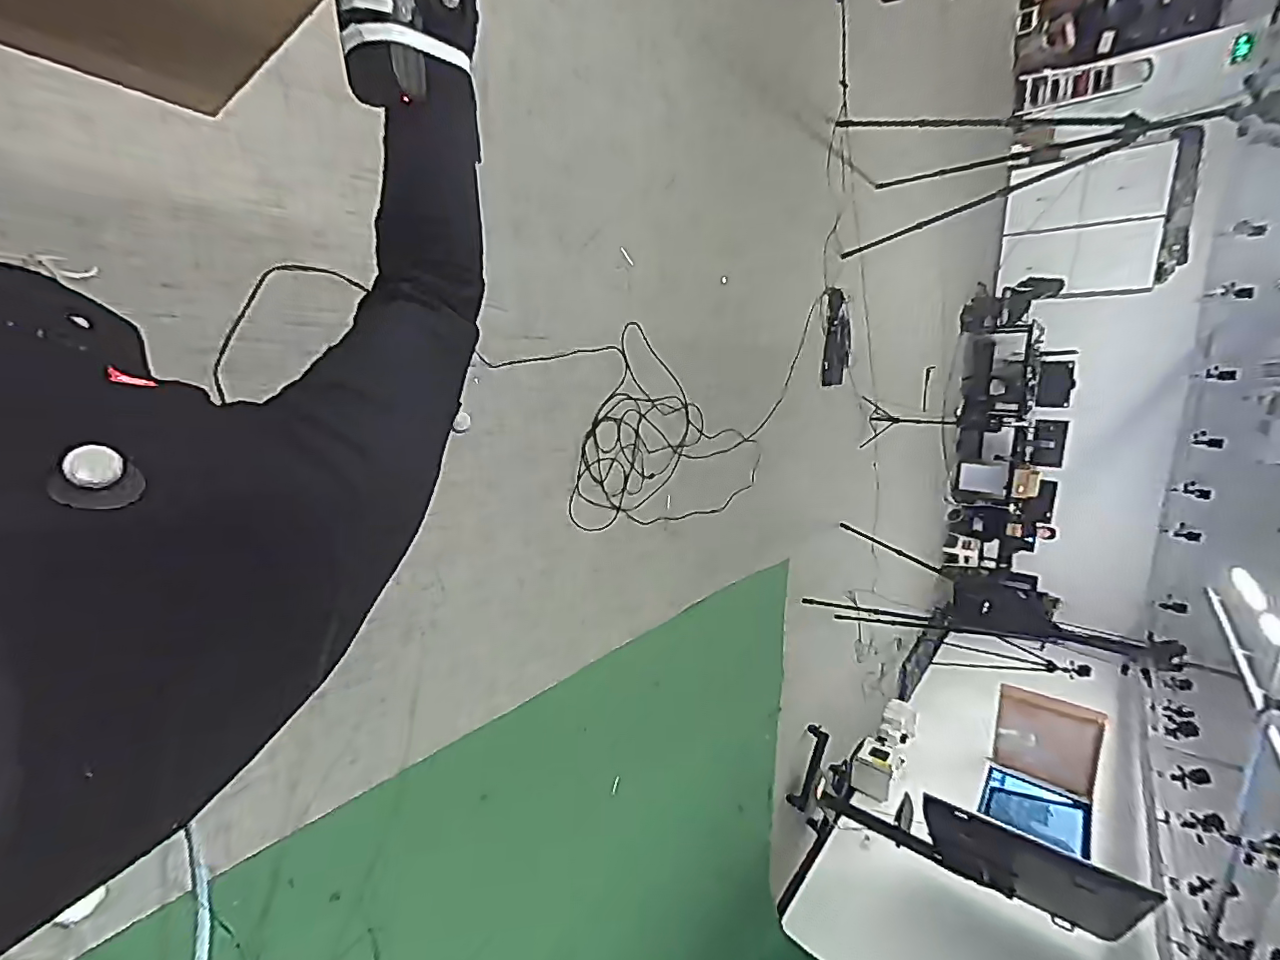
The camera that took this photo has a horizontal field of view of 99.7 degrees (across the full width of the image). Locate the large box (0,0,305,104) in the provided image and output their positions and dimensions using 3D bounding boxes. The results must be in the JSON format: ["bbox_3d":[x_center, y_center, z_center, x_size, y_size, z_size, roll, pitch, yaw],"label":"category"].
[{"bbox_3d":[-0.422,-0.466,0.258,0.408,0.320,0.320,-7,106,-48],"label":"large box"}]
